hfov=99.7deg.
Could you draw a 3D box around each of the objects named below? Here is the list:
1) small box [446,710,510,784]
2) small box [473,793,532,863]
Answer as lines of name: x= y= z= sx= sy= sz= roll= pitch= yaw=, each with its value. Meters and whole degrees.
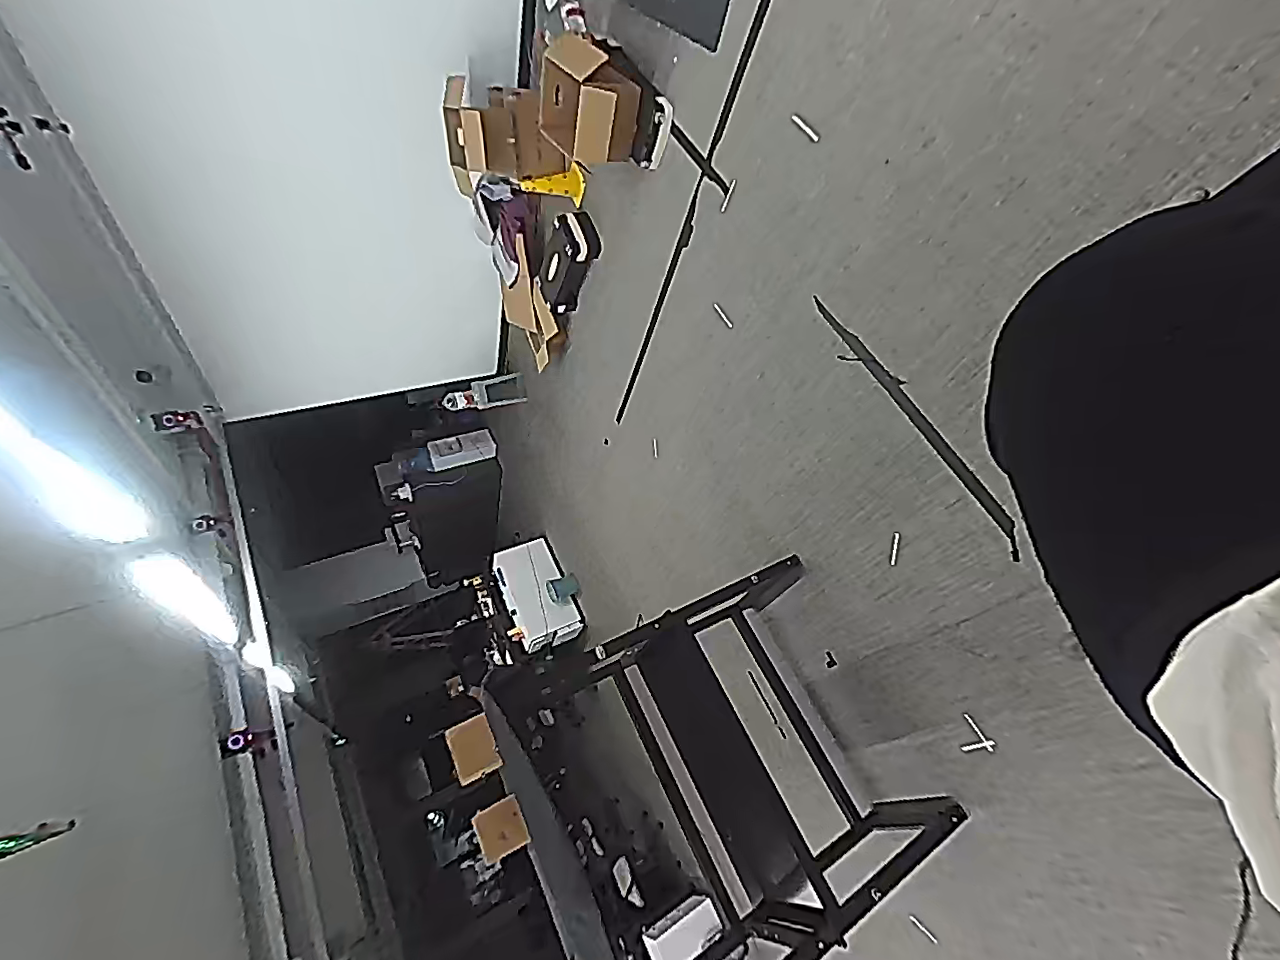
small box: x=-0.561 y=0.927 z=1.885 sx=0.168 sy=0.176 sz=0.179 roll=59 pitch=151 yaw=25
small box: x=-0.514 y=1.300 z=2.025 sx=0.168 sy=0.176 sz=0.179 roll=60 pitch=150 yaw=23
